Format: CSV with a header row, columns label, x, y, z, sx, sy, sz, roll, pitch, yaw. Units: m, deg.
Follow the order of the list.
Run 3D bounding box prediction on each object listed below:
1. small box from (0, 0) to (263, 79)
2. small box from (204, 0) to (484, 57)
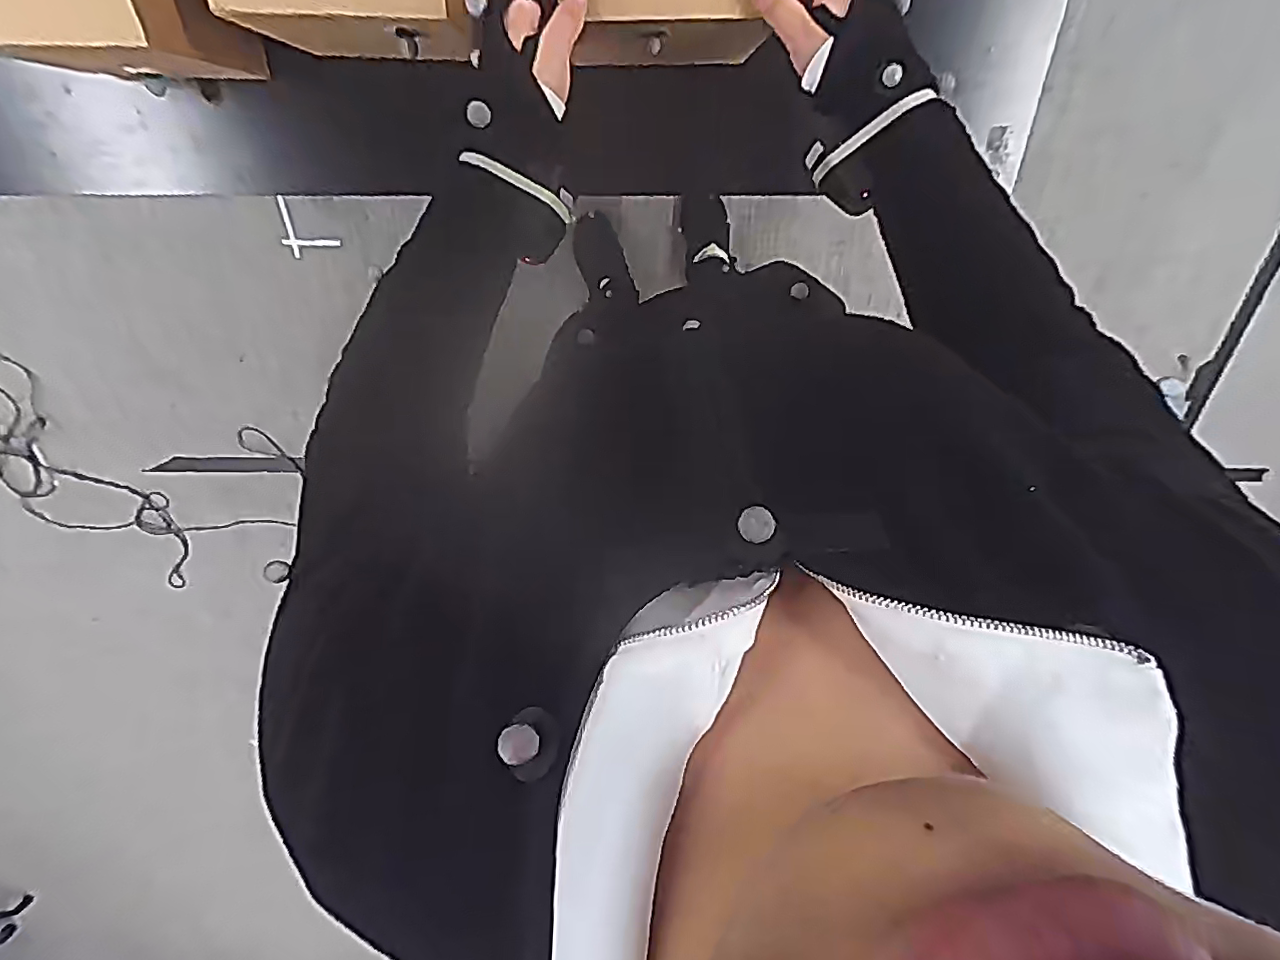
label,x,y,z,sx,sy,sz,roll,pitch,yaw
small box,-0.447,-0.436,0.424,0.168,0.176,0.179,0,120,0
small box,-0.228,-0.450,0.423,0.179,0.176,0.168,0,119,-2
